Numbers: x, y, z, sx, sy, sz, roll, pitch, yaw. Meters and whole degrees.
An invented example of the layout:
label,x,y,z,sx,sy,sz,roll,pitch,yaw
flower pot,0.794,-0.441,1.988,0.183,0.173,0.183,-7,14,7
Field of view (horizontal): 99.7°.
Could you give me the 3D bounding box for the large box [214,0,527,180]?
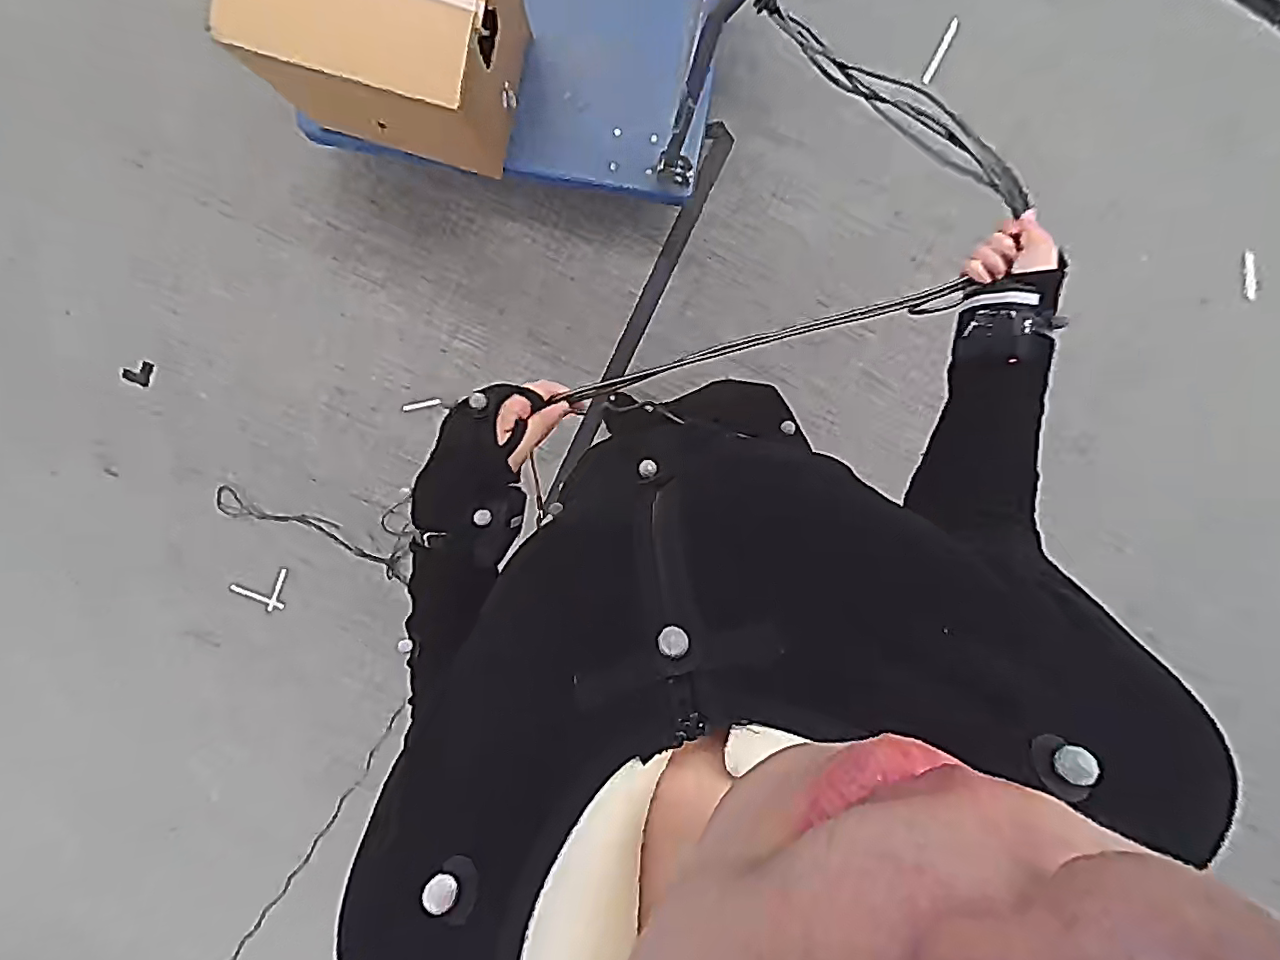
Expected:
label,x,y,z,sx,sy,sz,roll,pitch,yaw
large box,-0.455,-0.810,0.995,0.408,0.320,0.320,14,99,-3
